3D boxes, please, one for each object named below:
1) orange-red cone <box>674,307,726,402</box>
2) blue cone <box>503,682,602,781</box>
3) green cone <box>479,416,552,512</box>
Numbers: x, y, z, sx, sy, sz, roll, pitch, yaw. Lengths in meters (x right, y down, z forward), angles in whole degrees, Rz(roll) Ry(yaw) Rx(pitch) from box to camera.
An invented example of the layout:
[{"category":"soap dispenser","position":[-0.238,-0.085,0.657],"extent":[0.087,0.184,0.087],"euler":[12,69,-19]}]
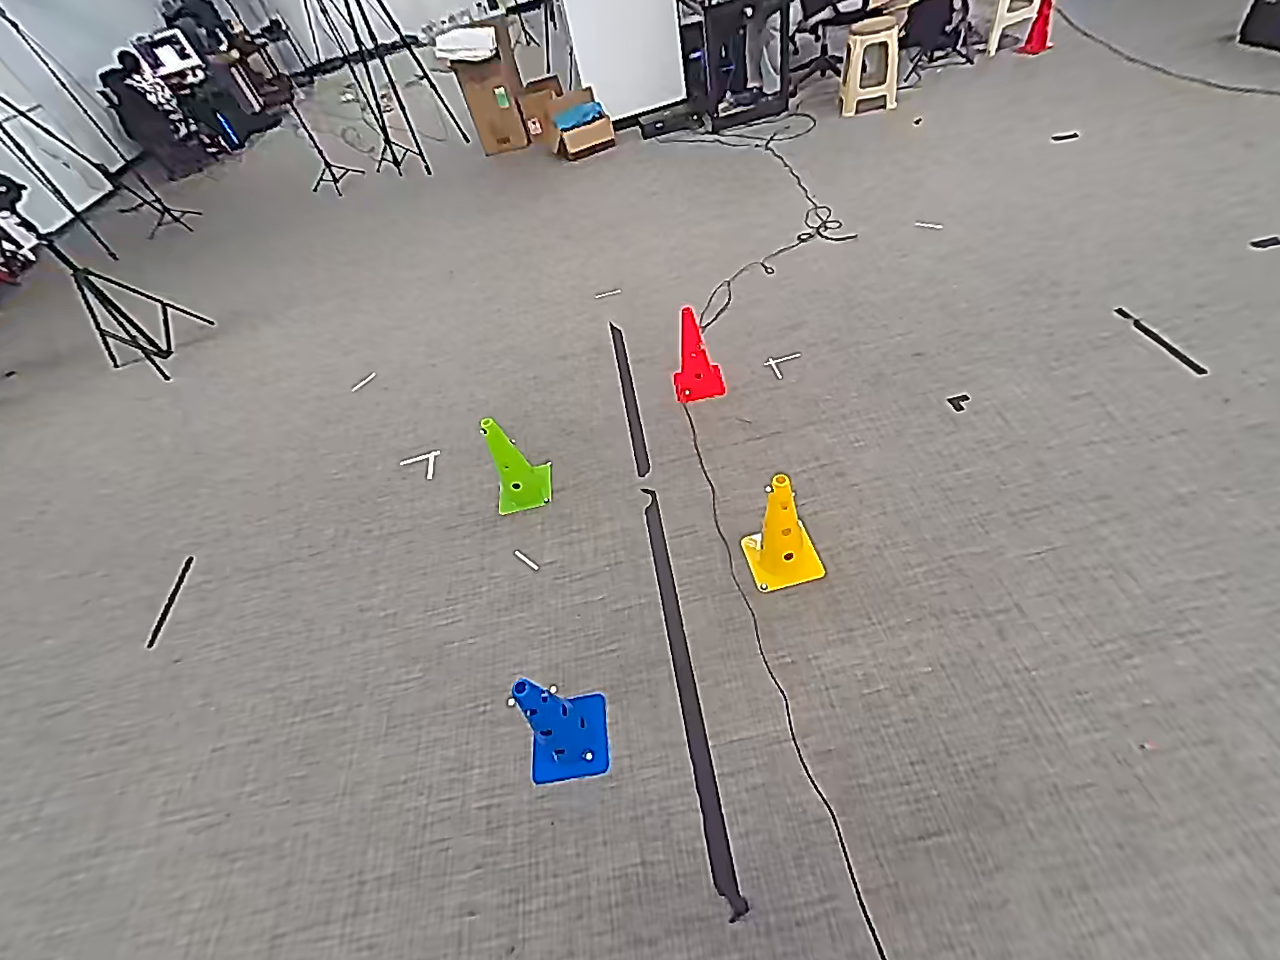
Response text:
[{"category":"orange-red cone","position":[0.211,-0.504,2.079],"extent":[0.199,0.360,0.198],"euler":[-10,50,5]},{"category":"blue cone","position":[-0.226,0.562,1.285],"extent":[0.192,0.380,0.193],"euler":[-11,48,7]},{"category":"green cone","position":[-0.462,-0.086,1.894],"extent":[0.202,0.368,0.200],"euler":[-14,48,4]}]
